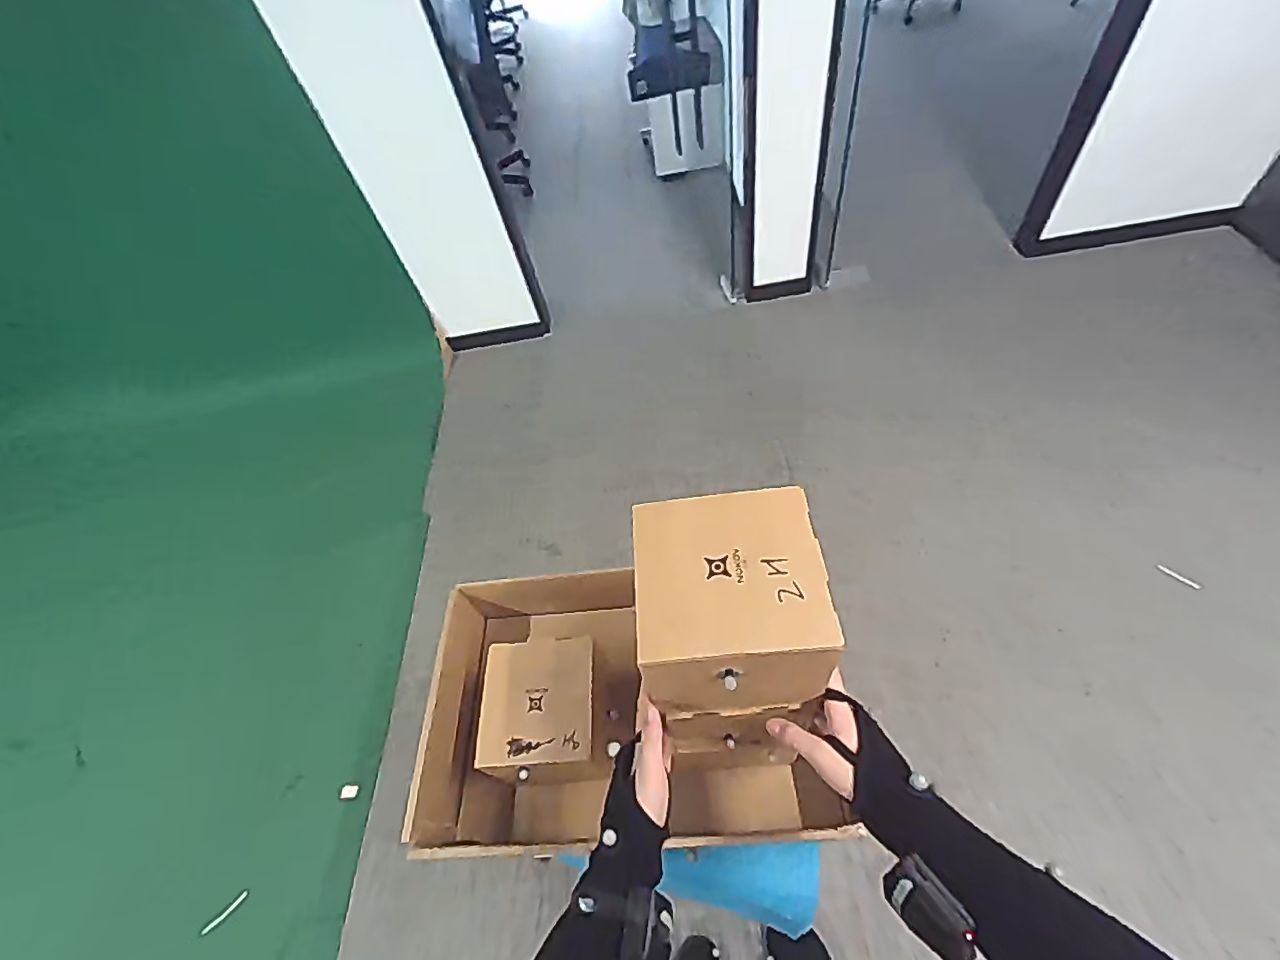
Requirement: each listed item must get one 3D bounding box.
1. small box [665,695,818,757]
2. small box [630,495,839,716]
[{"bbox_3d":[0.114,0.236,0.689,0.168,0.176,0.179,-6,52,4],"label":"small box"},{"bbox_3d":[0.088,0.136,0.560,0.179,0.176,0.168,-5,52,5],"label":"small box"}]
